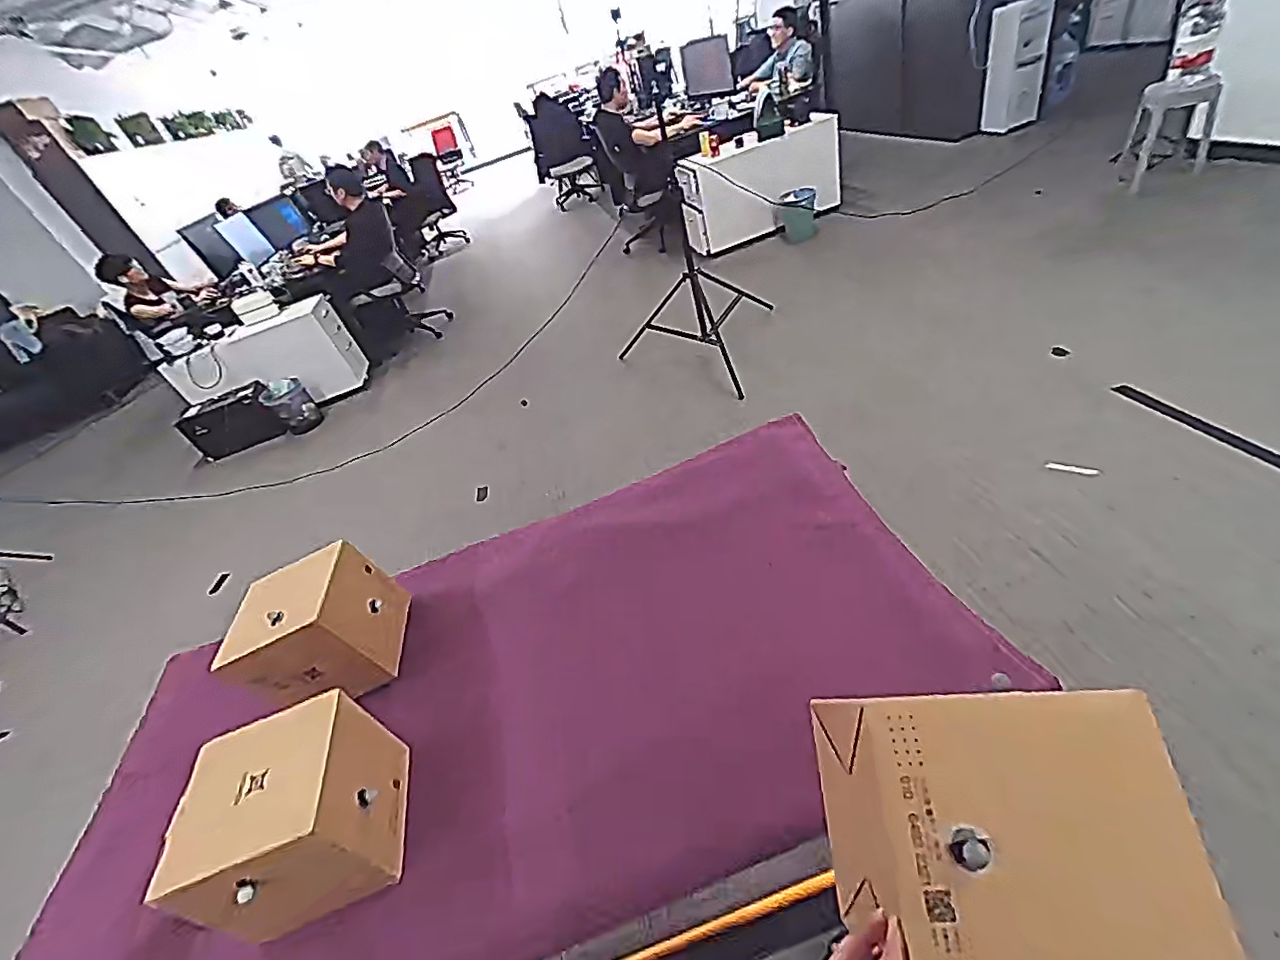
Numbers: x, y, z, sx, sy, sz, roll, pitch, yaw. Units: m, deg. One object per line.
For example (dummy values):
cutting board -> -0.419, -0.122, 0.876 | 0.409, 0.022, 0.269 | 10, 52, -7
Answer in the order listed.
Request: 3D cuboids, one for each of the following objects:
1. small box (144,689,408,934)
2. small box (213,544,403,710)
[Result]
small box -> -0.395, 0.386, 0.631 | 0.179, 0.176, 0.168 | -23, 38, -3
small box -> -0.491, 0.229, 0.837 | 0.179, 0.168, 0.176 | -25, 37, 5
